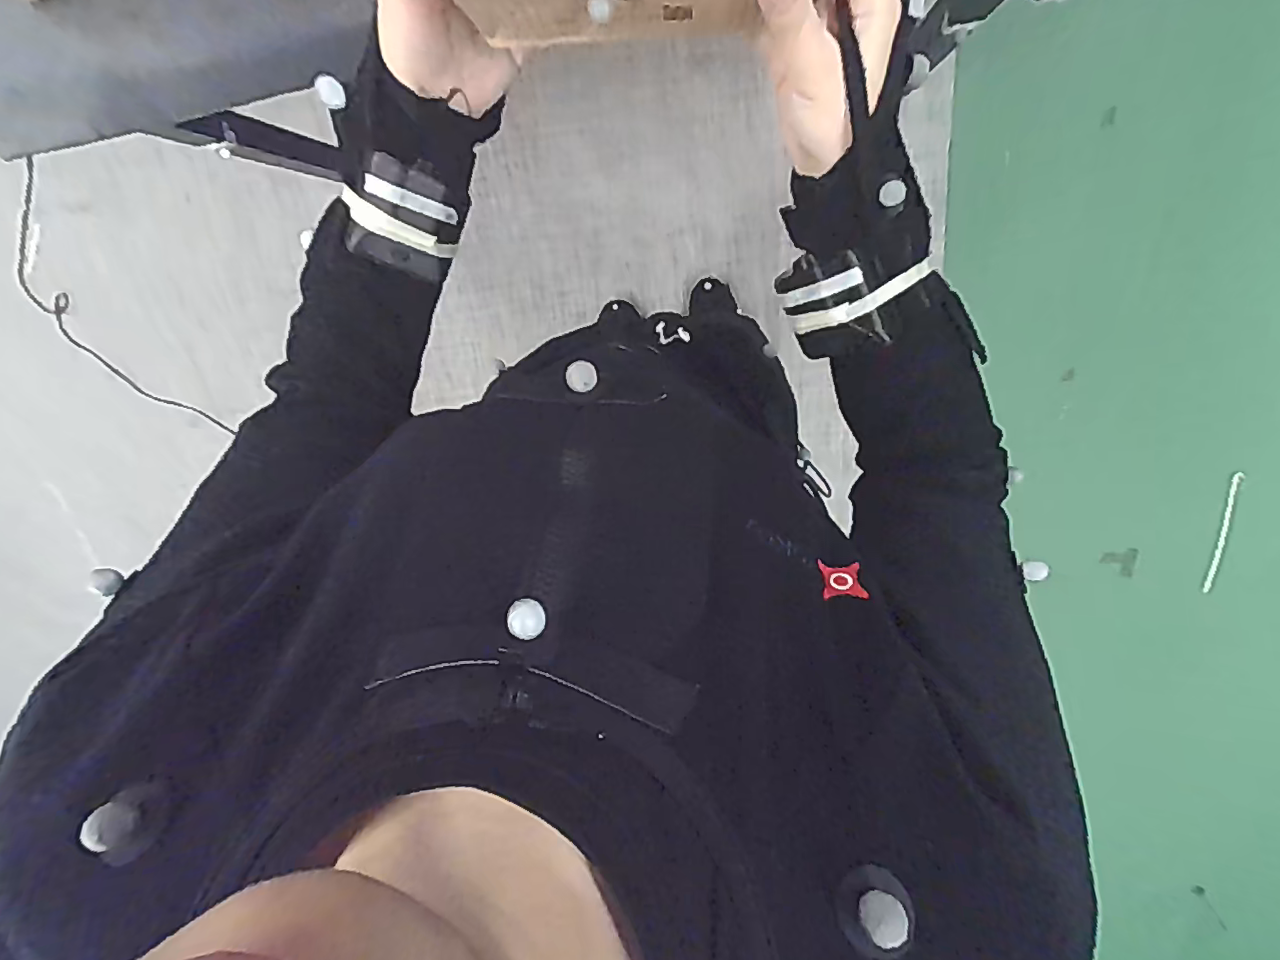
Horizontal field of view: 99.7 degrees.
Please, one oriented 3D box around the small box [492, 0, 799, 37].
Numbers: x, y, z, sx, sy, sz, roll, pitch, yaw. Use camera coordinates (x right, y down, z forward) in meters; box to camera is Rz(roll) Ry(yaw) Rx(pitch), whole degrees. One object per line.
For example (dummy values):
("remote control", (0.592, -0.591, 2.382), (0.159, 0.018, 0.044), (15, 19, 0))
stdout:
("small box", (-0.004, -0.289, 0.180), (0.168, 0.176, 0.179), (0, 113, 3))
